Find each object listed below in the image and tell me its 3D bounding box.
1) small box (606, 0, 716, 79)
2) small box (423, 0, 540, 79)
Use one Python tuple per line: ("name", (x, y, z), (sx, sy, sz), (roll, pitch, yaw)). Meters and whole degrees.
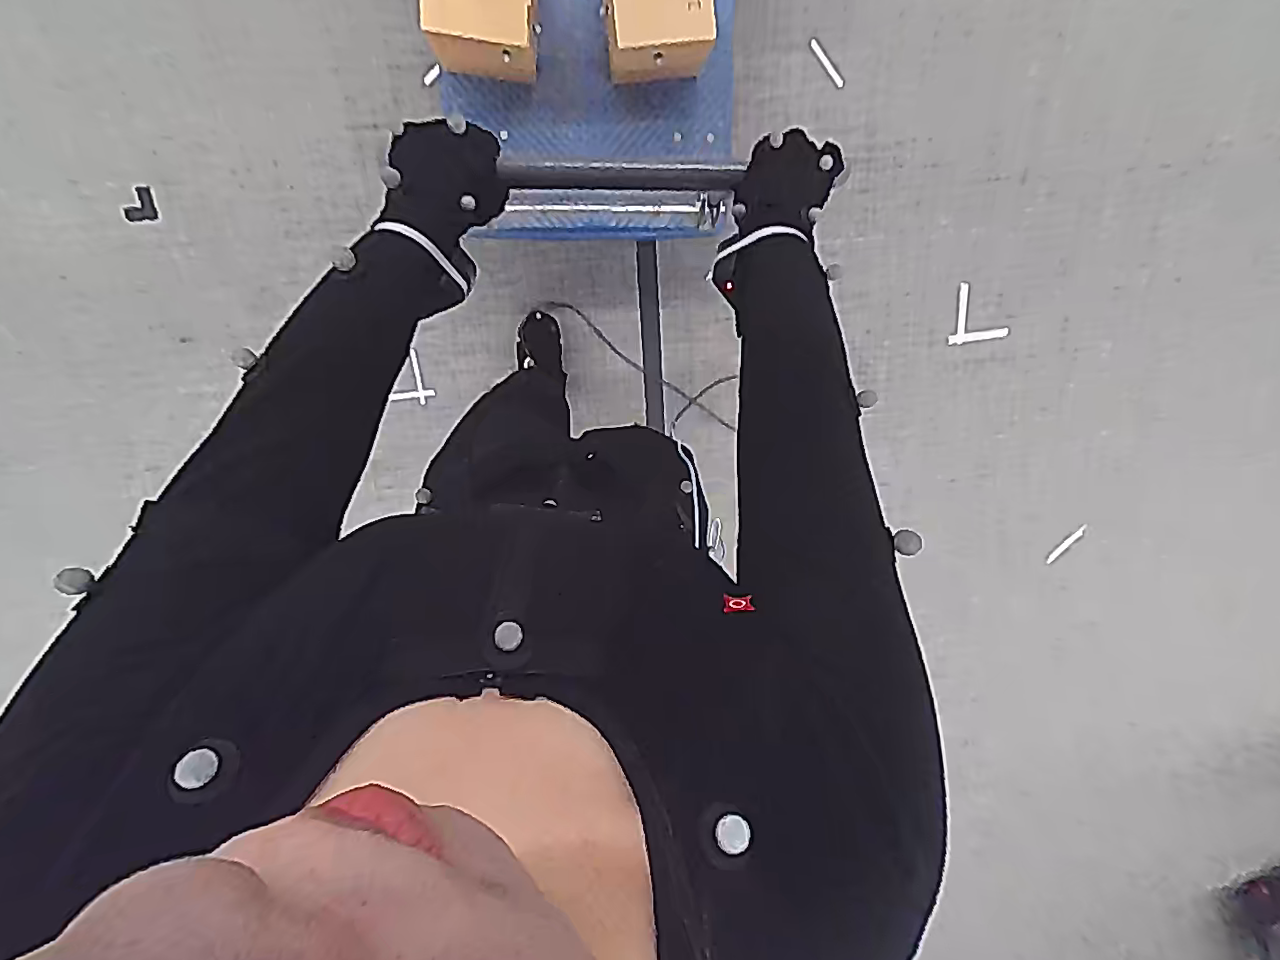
("small box", (0.031, -0.852, 0.975), (0.179, 0.176, 0.168), (-8, 110, -4))
("small box", (-0.271, -0.836, 0.946), (0.179, 0.176, 0.168), (2, 109, -9))
